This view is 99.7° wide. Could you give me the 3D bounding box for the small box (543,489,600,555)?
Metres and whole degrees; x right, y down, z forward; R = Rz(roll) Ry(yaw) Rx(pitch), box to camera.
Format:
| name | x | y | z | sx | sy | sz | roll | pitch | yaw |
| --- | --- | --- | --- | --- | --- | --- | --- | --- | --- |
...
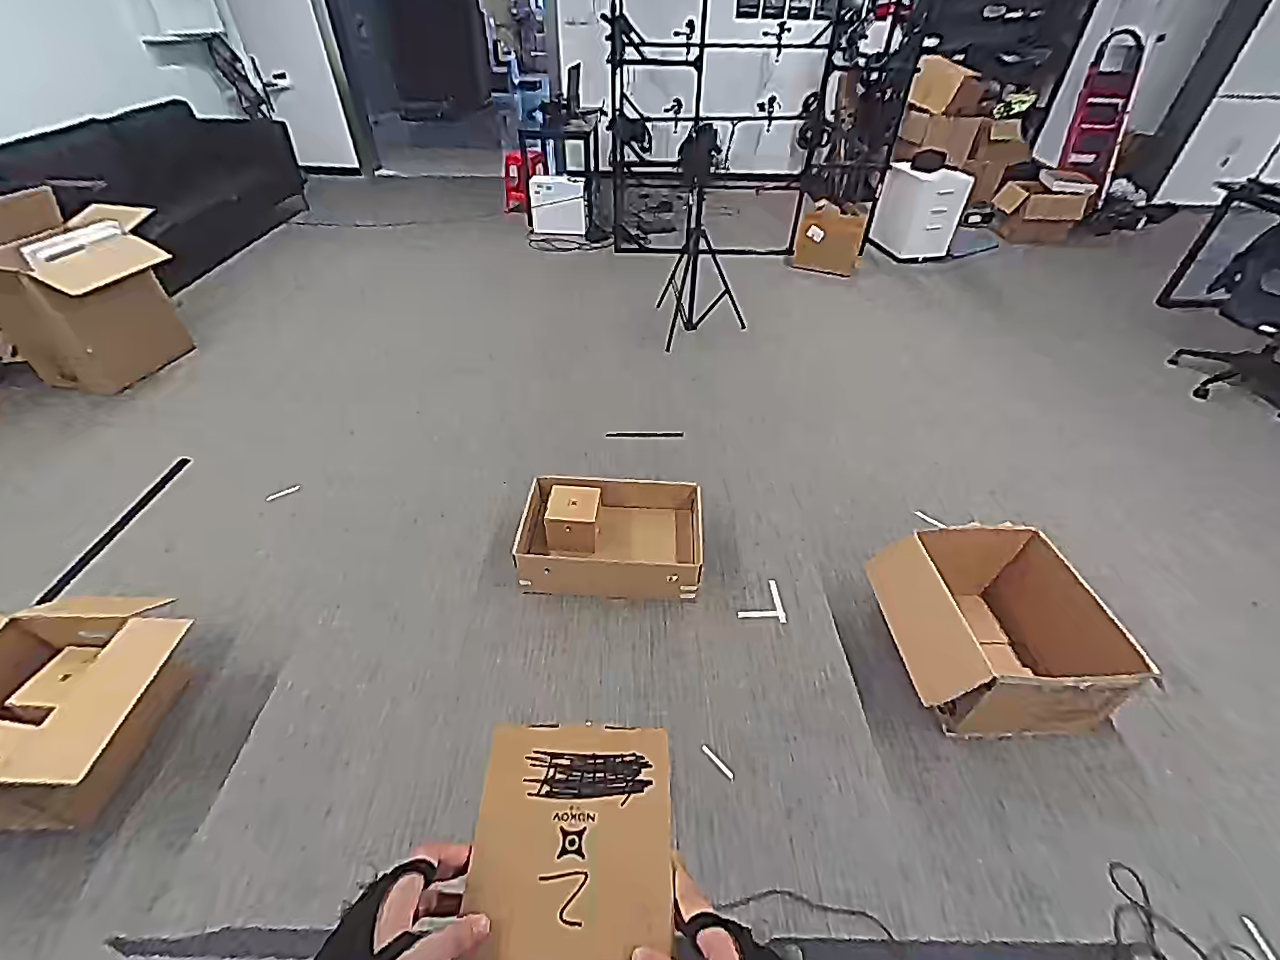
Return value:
| name | x | y | z | sx | sy | sz | roll | pitch | yaw |
| --- | --- | --- | --- | --- | --- | --- | --- | --- | --- |
| small box | -0.241 | 0.153 | 1.943 | 0.179 | 0.176 | 0.168 | 4 | 44 | 1 |
